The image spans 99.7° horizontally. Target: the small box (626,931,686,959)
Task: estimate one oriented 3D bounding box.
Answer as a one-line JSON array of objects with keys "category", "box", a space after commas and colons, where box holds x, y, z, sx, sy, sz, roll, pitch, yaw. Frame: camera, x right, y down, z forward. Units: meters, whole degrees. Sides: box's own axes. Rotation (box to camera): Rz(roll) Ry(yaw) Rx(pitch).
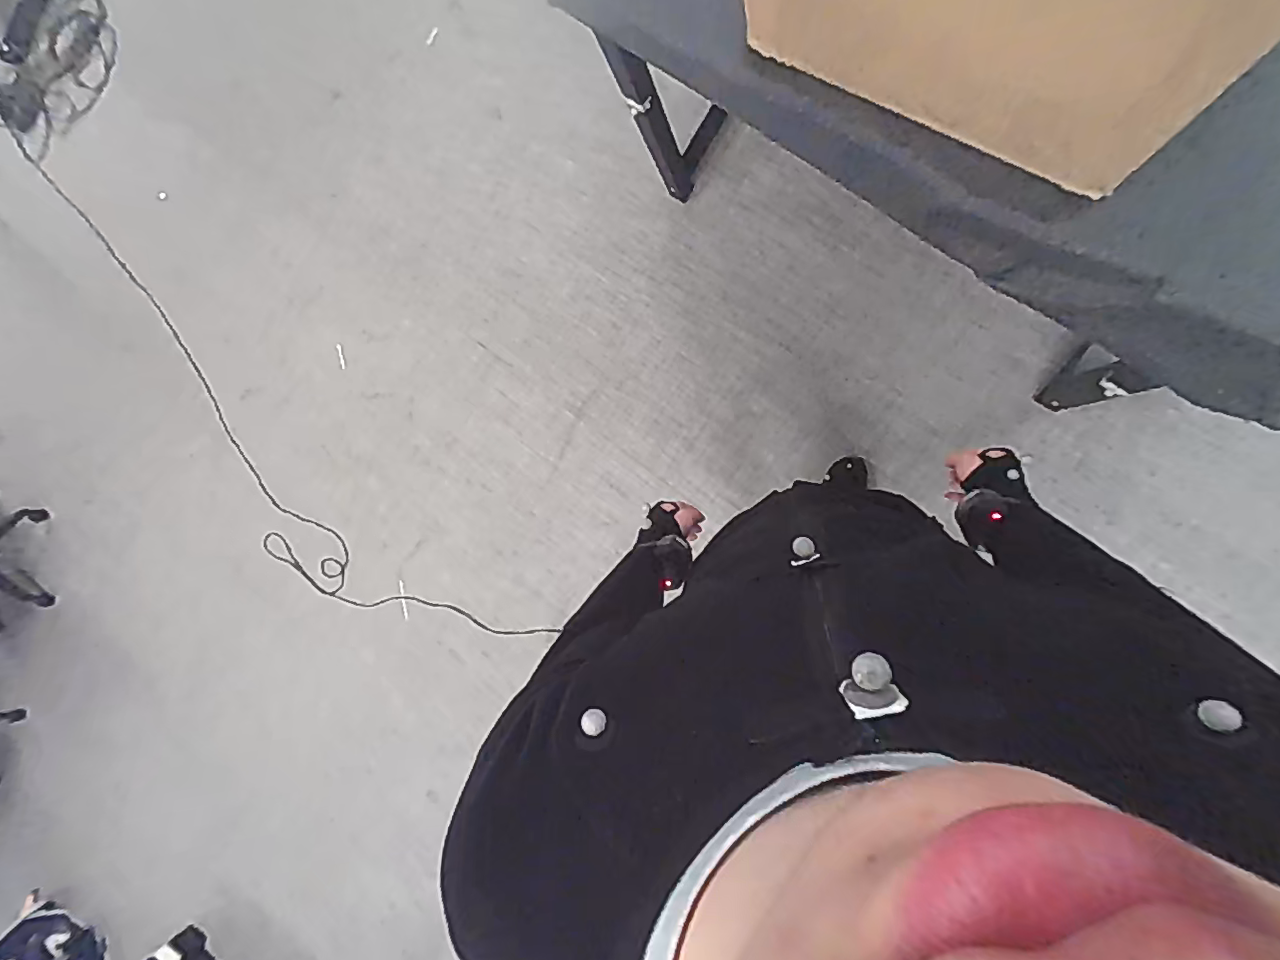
[{"category": "small box", "box": [0.028, 1.361, 1.419, 0.168, 0.176, 0.179, 34, 100, 11]}]
